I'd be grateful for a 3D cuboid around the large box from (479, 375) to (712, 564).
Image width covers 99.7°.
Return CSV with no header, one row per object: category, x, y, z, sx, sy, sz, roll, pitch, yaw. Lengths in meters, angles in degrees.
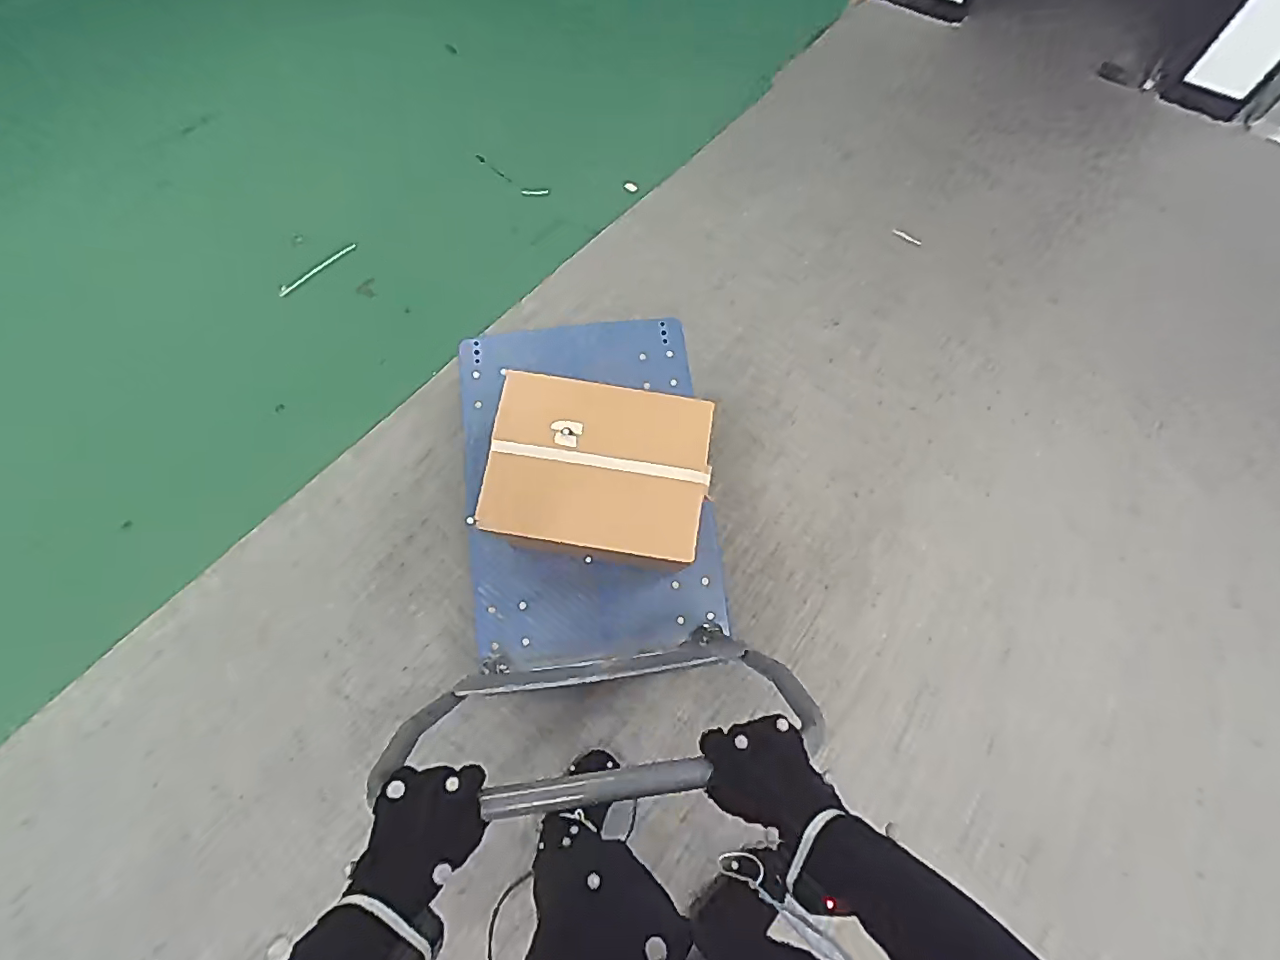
large box,-0.076,-0.002,1.147,0.408,0.320,0.320,8,77,2
